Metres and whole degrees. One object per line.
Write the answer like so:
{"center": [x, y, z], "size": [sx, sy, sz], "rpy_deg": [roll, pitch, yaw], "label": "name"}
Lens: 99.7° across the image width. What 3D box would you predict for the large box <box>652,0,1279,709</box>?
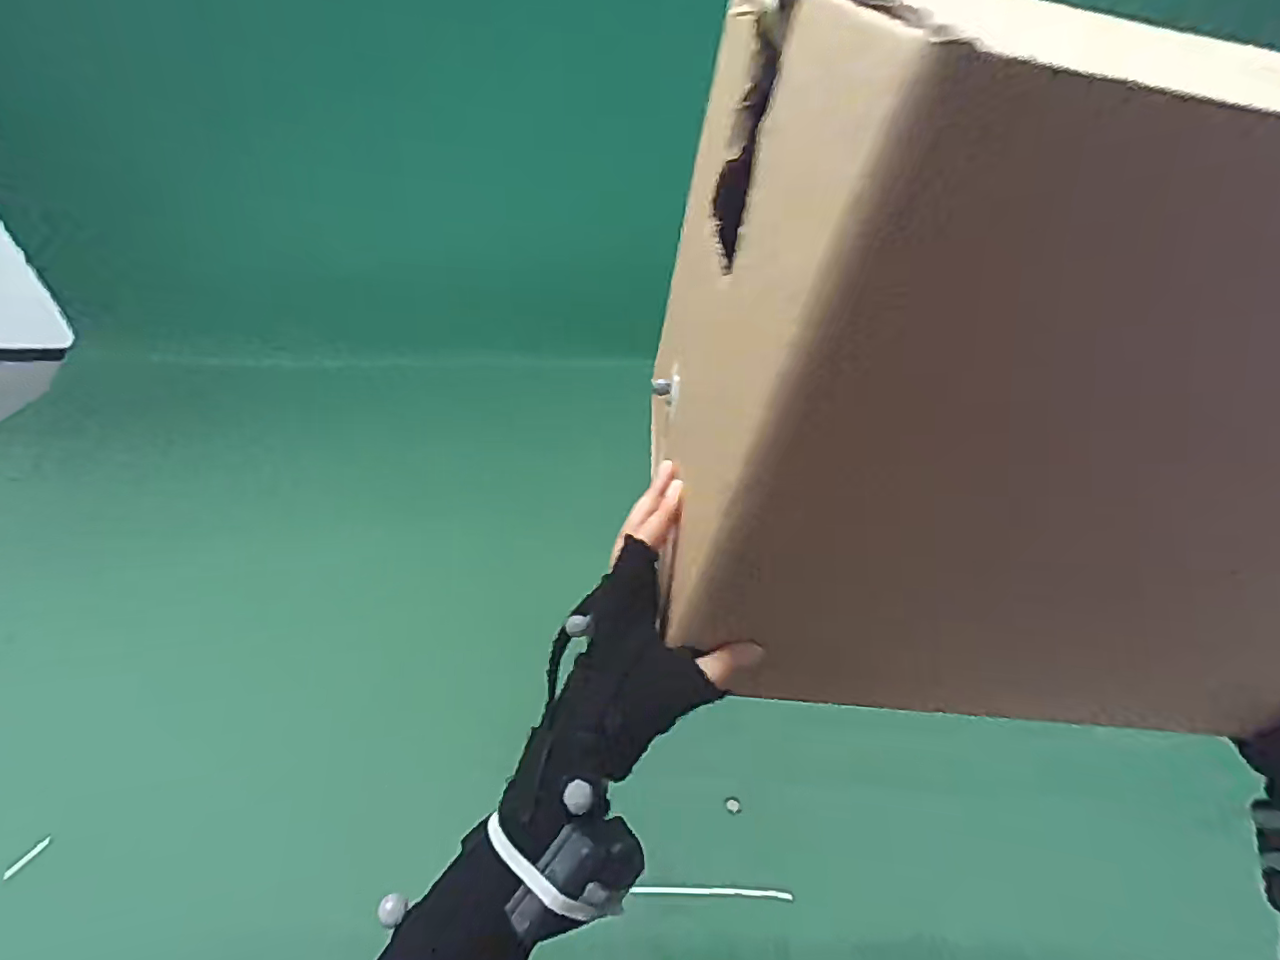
{"center": [0.233, -0.070, 0.349], "size": [0.408, 0.320, 0.320], "rpy_deg": [7, 46, -7], "label": "large box"}
